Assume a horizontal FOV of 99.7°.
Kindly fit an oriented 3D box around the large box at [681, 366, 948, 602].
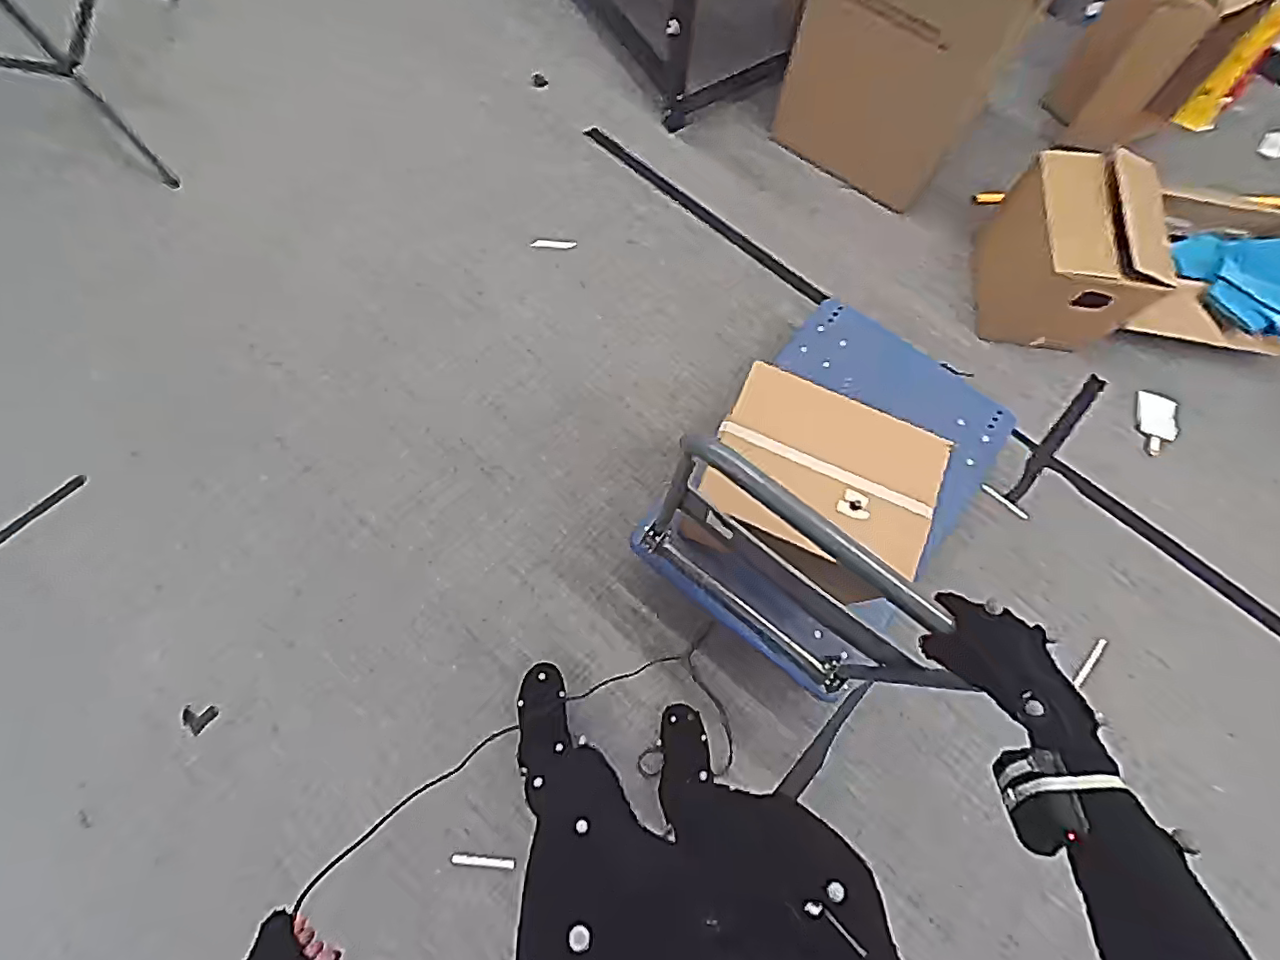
[{"bbox_3d":[0.337,0.026,1.140,0.408,0.320,0.320,24,74,5],"label":"large box"}]
